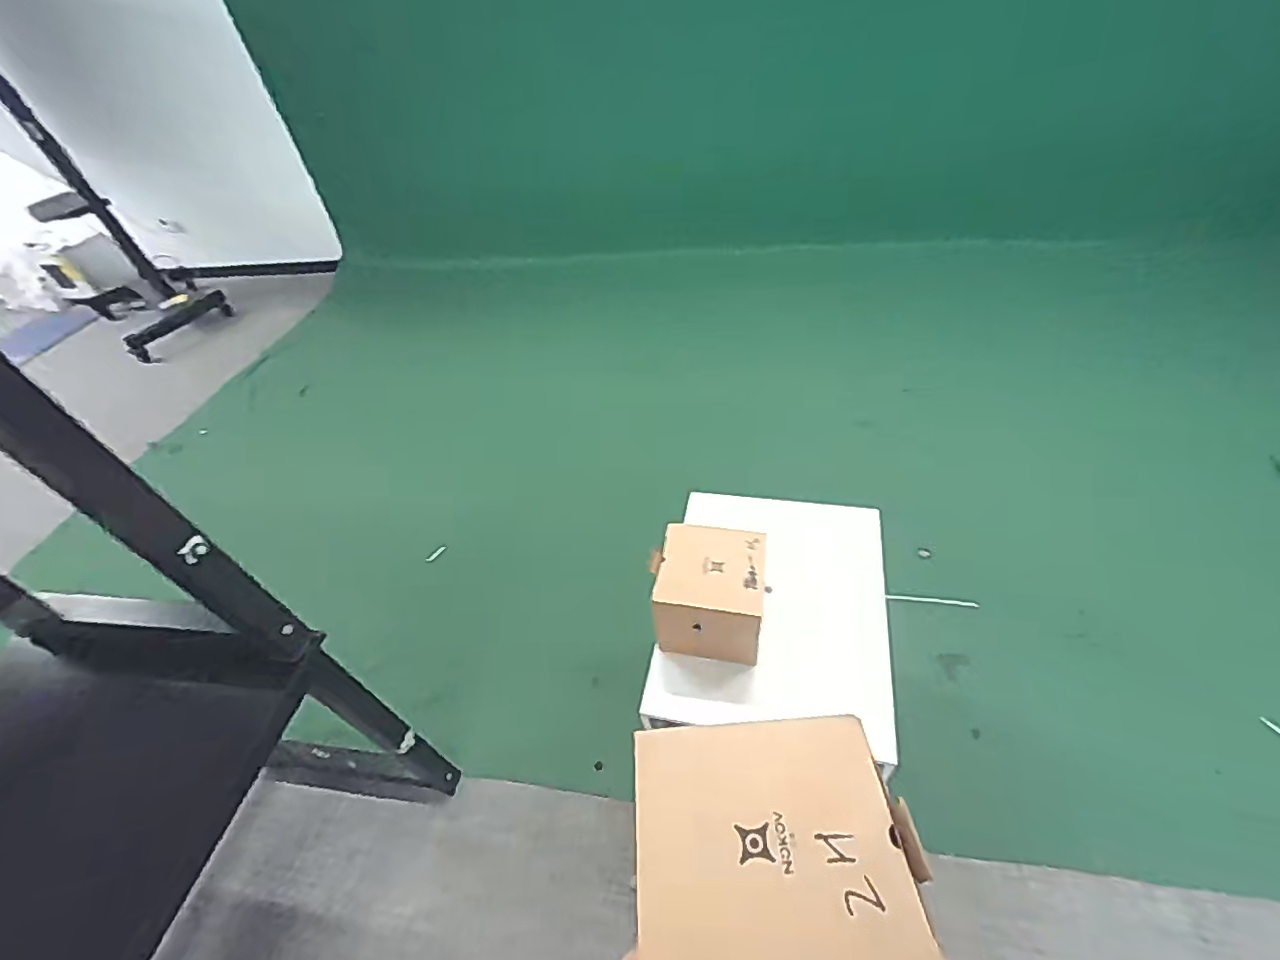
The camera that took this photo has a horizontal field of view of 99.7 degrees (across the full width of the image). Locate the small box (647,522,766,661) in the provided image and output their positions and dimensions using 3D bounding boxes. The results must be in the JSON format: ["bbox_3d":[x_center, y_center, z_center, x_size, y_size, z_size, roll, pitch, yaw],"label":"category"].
[{"bbox_3d":[0.120,0.193,0.934,0.179,0.176,0.168,5,47,13],"label":"small box"}]
